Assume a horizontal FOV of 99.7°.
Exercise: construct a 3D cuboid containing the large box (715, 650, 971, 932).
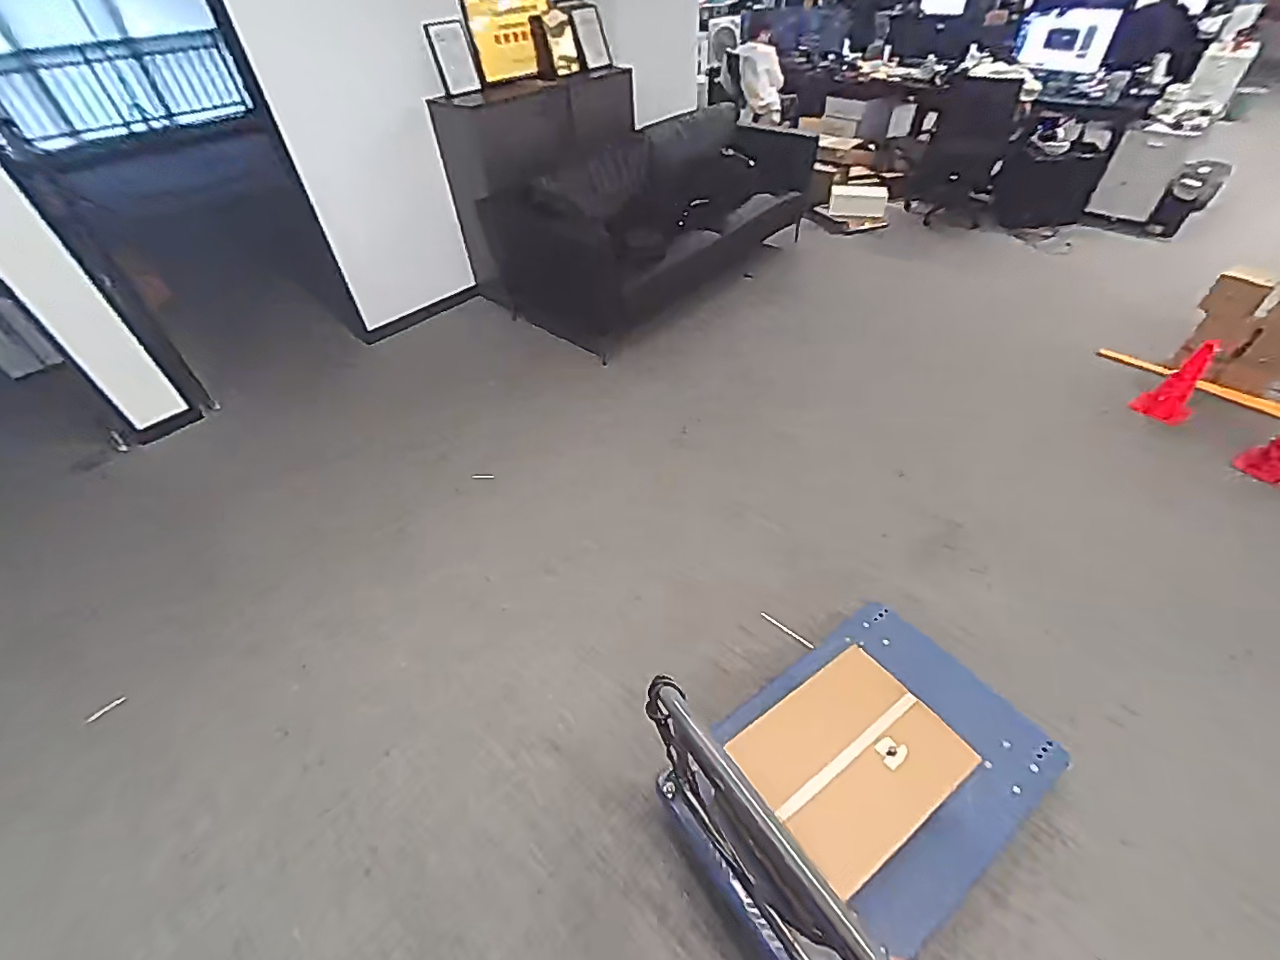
[{"bbox_3d":[0.417,0.667,1.185,0.408,0.320,0.320,-26,48,-23],"label":"large box"}]
